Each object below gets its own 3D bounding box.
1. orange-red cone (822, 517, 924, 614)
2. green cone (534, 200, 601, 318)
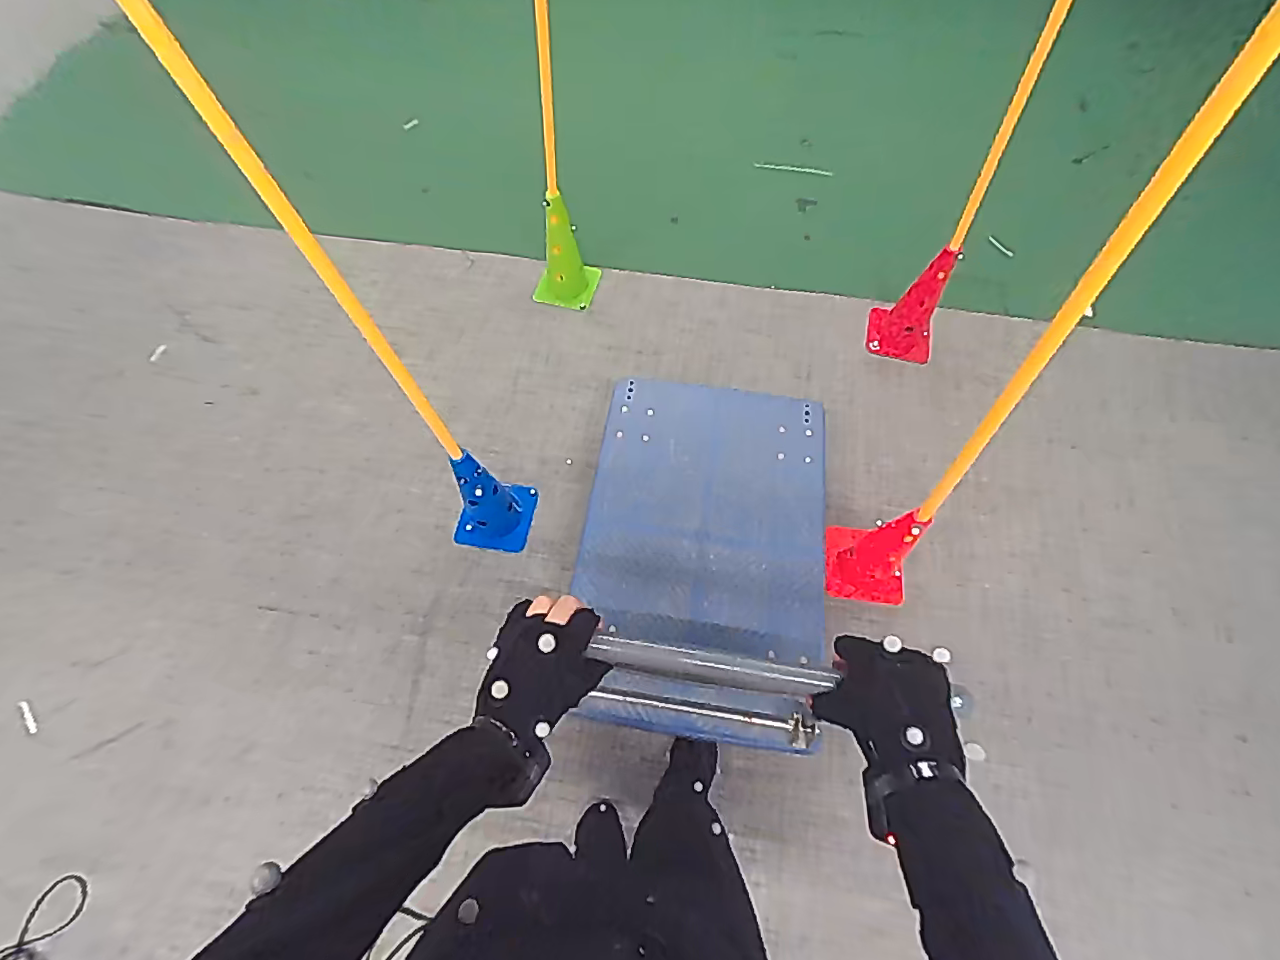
[{"bbox_3d":[0.588,0.176,1.306,0.199,0.360,0.198,8,63,6],"label":"orange-red cone"},{"bbox_3d":[-0.256,-0.734,1.753,0.202,0.368,0.200,13,64,7],"label":"green cone"}]
